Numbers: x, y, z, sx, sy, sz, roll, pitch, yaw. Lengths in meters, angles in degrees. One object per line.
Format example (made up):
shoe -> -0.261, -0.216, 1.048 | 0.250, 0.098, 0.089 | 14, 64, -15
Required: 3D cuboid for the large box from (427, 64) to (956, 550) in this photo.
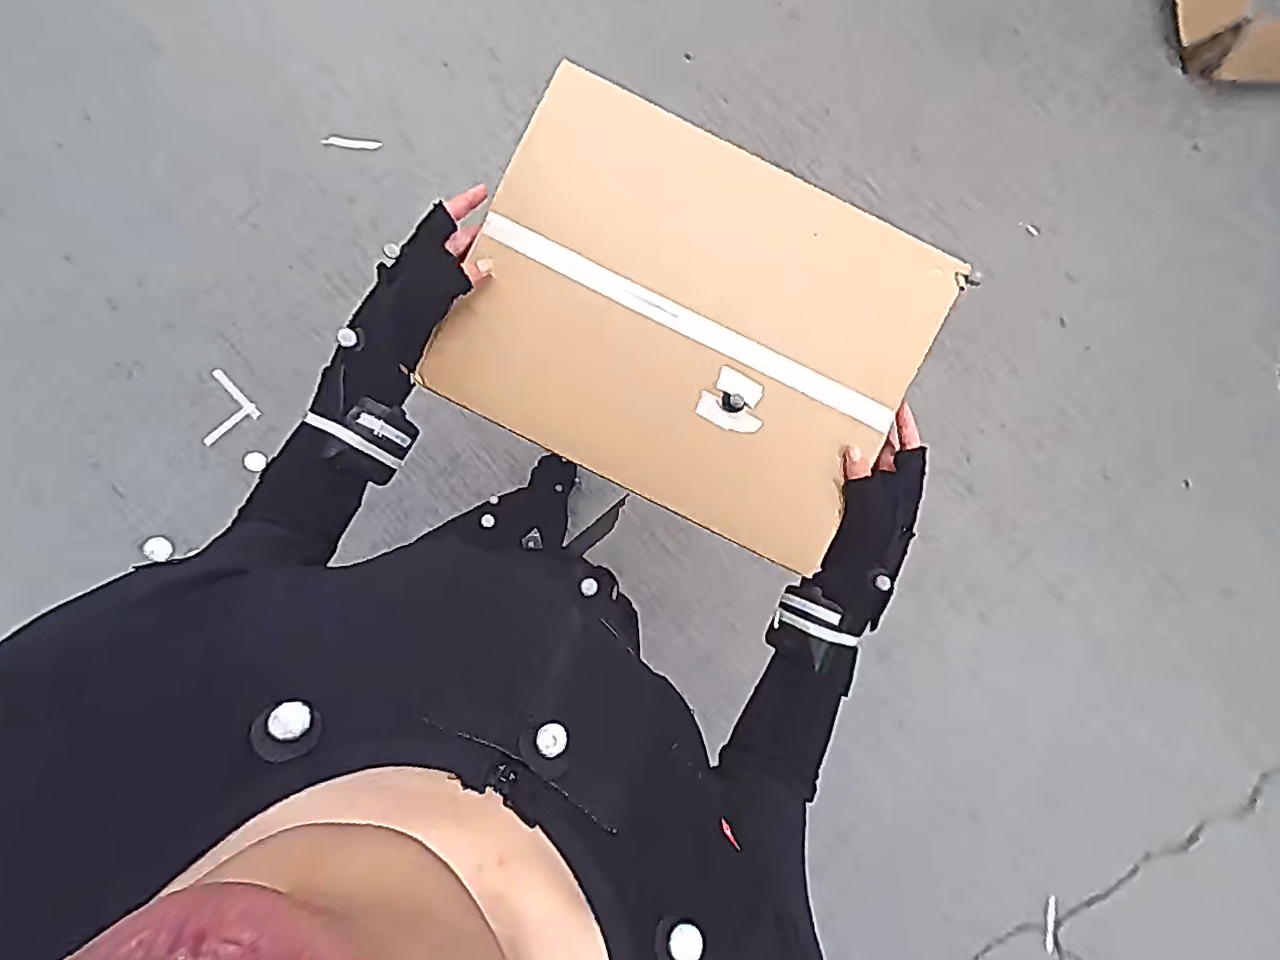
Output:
large box -> 0.043, -0.159, 0.638 | 0.408, 0.320, 0.320 | 26, 93, -2
